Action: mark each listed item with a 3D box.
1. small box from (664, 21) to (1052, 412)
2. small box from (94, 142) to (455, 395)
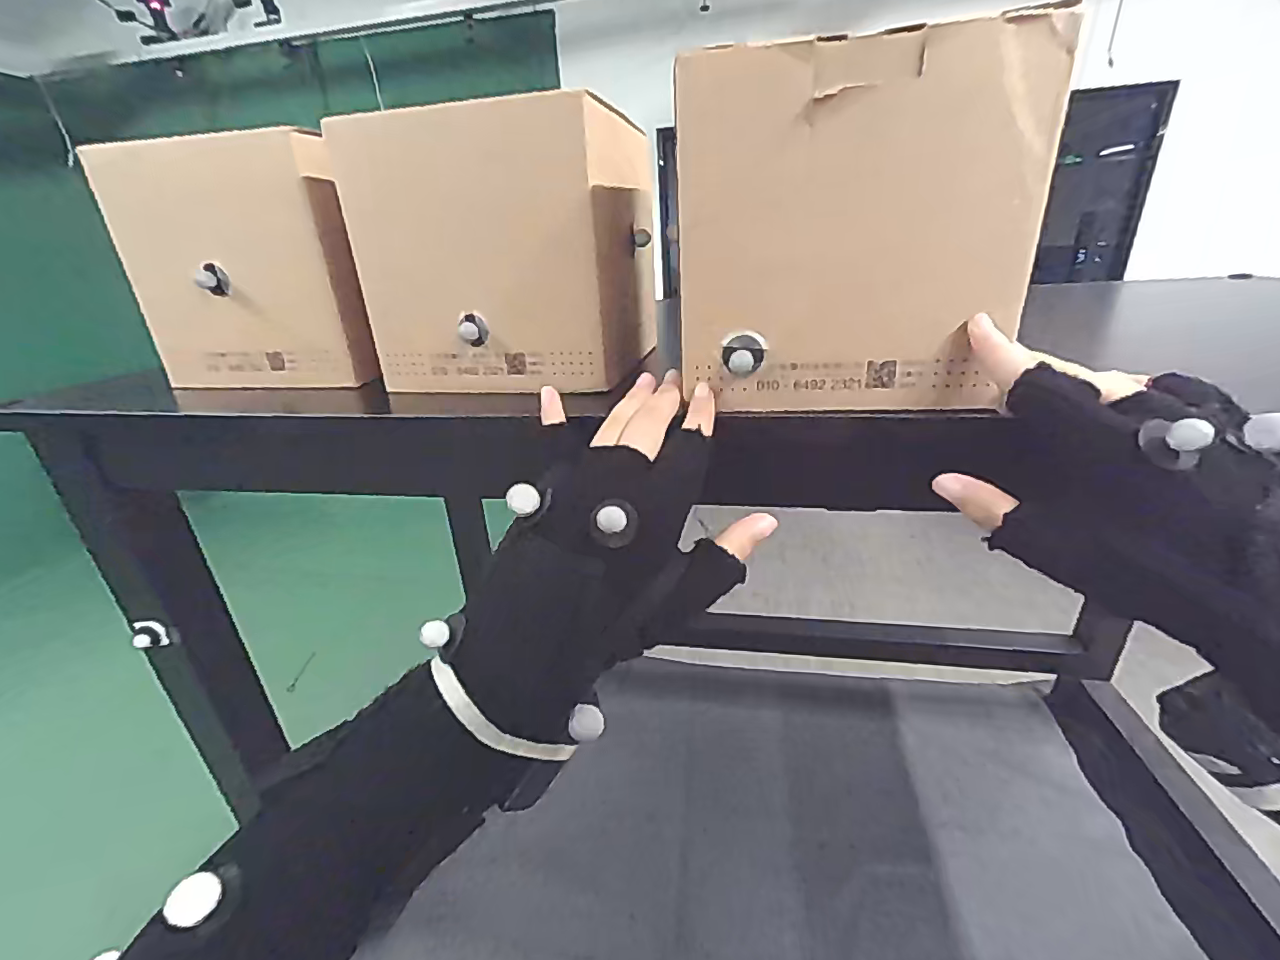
[{"bbox_3d":[0.110,-0.143,0.340,0.168,0.176,0.179,1,23,10],"label":"small box"},{"bbox_3d":[-0.280,-0.173,0.465,0.168,0.176,0.179,2,24,10],"label":"small box"}]
